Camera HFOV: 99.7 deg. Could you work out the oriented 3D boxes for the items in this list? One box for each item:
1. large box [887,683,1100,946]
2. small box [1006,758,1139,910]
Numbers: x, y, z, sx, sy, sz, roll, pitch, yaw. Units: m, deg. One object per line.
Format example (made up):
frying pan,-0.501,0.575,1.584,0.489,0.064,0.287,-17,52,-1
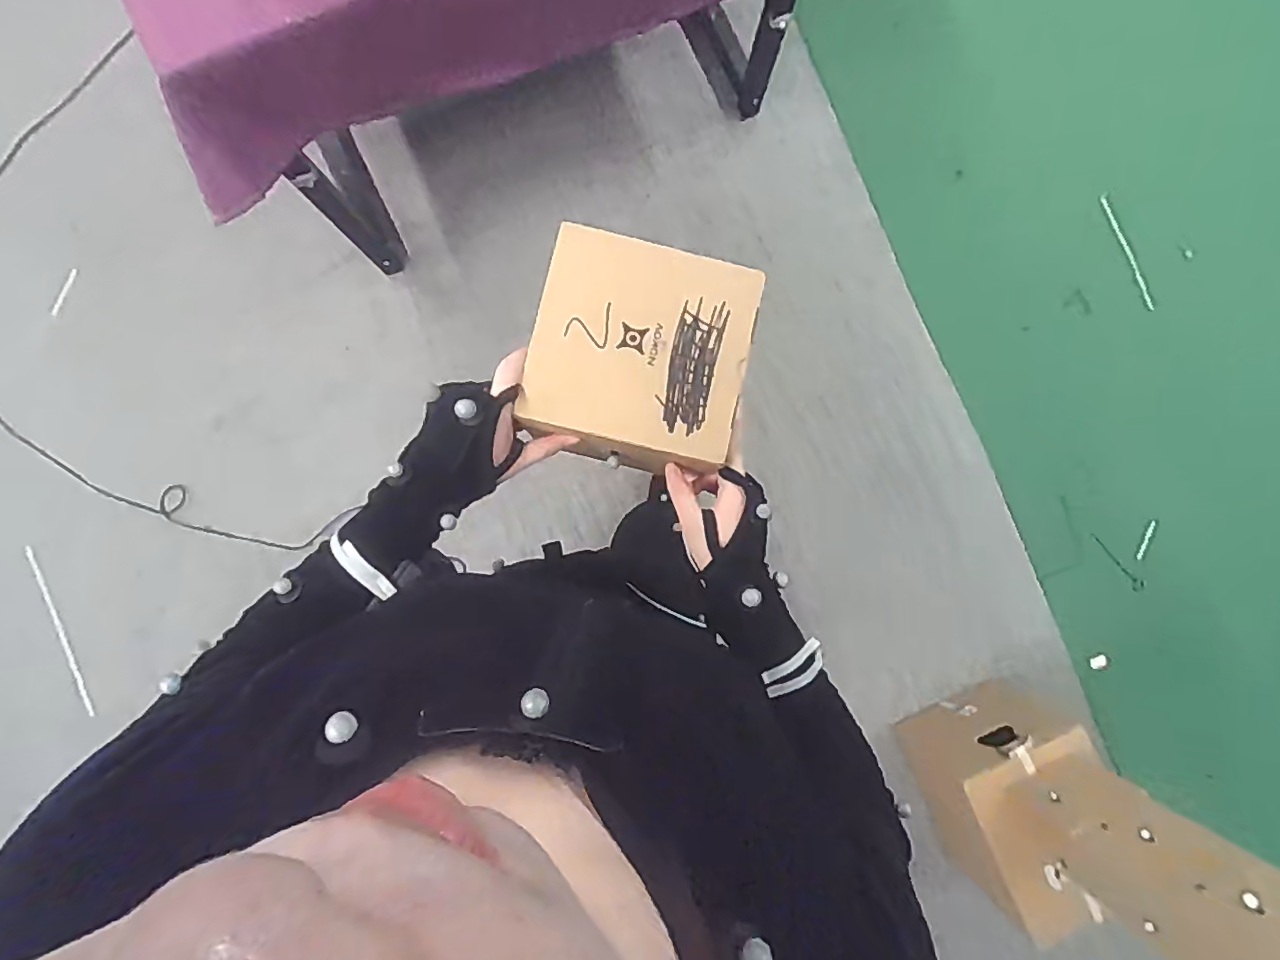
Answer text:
large box,0.905,0.799,1.357,0.320,0.320,0.408,-23,89,-3
small box,0.904,0.717,1.116,0.179,0.176,0.168,-24,89,-5
